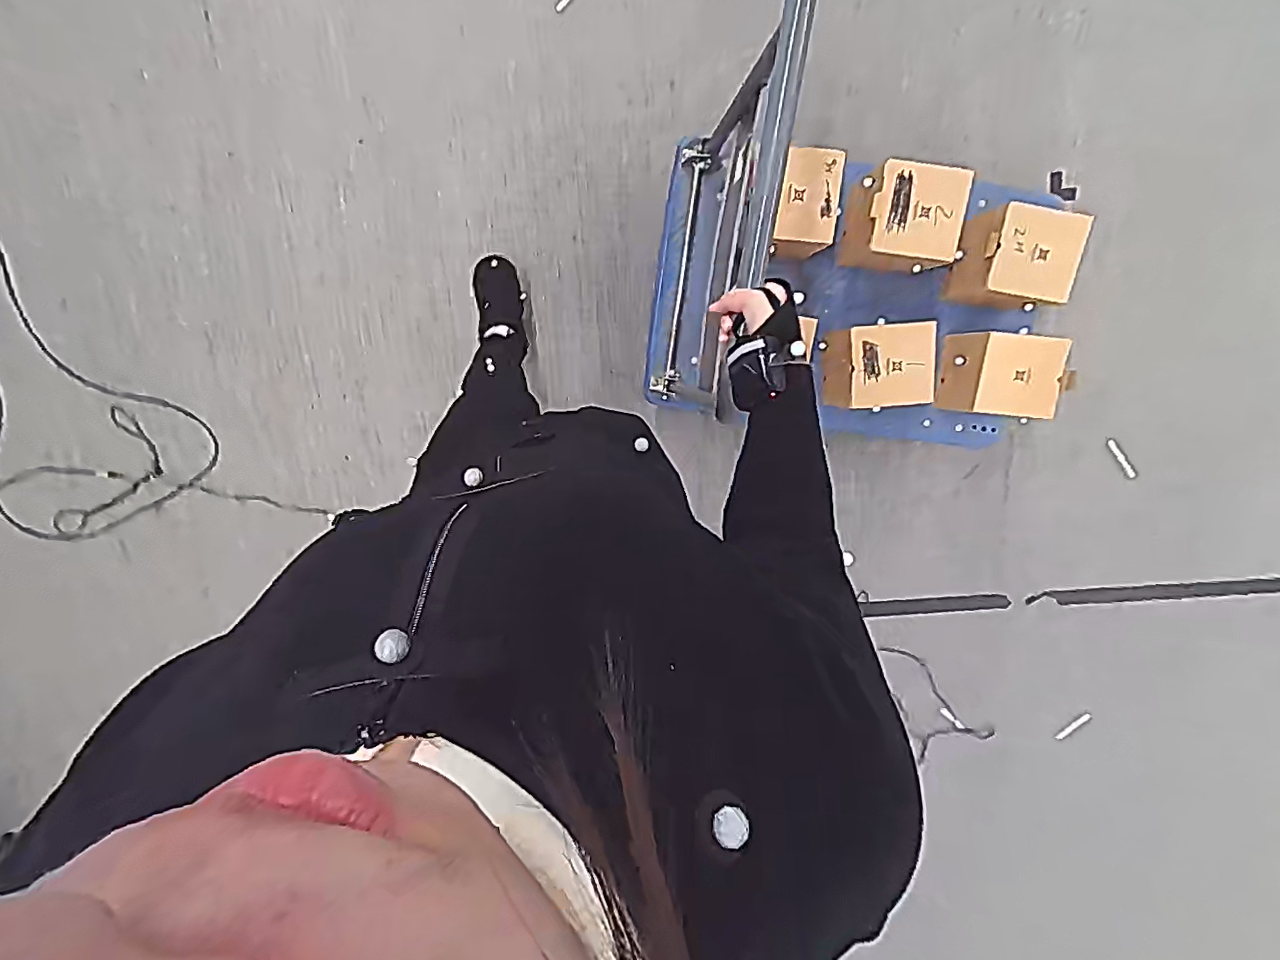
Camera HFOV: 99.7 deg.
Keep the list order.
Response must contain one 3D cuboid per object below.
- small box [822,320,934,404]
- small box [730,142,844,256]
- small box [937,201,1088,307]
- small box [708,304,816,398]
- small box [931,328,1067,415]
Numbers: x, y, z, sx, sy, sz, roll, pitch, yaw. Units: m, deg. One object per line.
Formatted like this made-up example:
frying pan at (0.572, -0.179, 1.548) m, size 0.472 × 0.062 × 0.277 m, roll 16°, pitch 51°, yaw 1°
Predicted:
small box at (0.511, -0.257, 1.186) m, size 0.179 × 0.176 × 0.168 m, roll -4°, pitch 102°, yaw -2°
small box at (0.290, -0.565, 1.109) m, size 0.179 × 0.176 × 0.168 m, roll 4°, pitch 103°, yaw -3°
small box at (0.778, -0.469, 1.148) m, size 0.179 × 0.176 × 0.168 m, roll 9°, pitch 102°, yaw -3°
small box at (0.254, -0.276, 1.173) m, size 0.179 × 0.176 × 0.168 m, roll 8°, pitch 102°, yaw -4°
small box at (0.783, -0.239, 1.201) m, size 0.179 × 0.176 × 0.168 m, roll 4°, pitch 102°, yaw -3°
